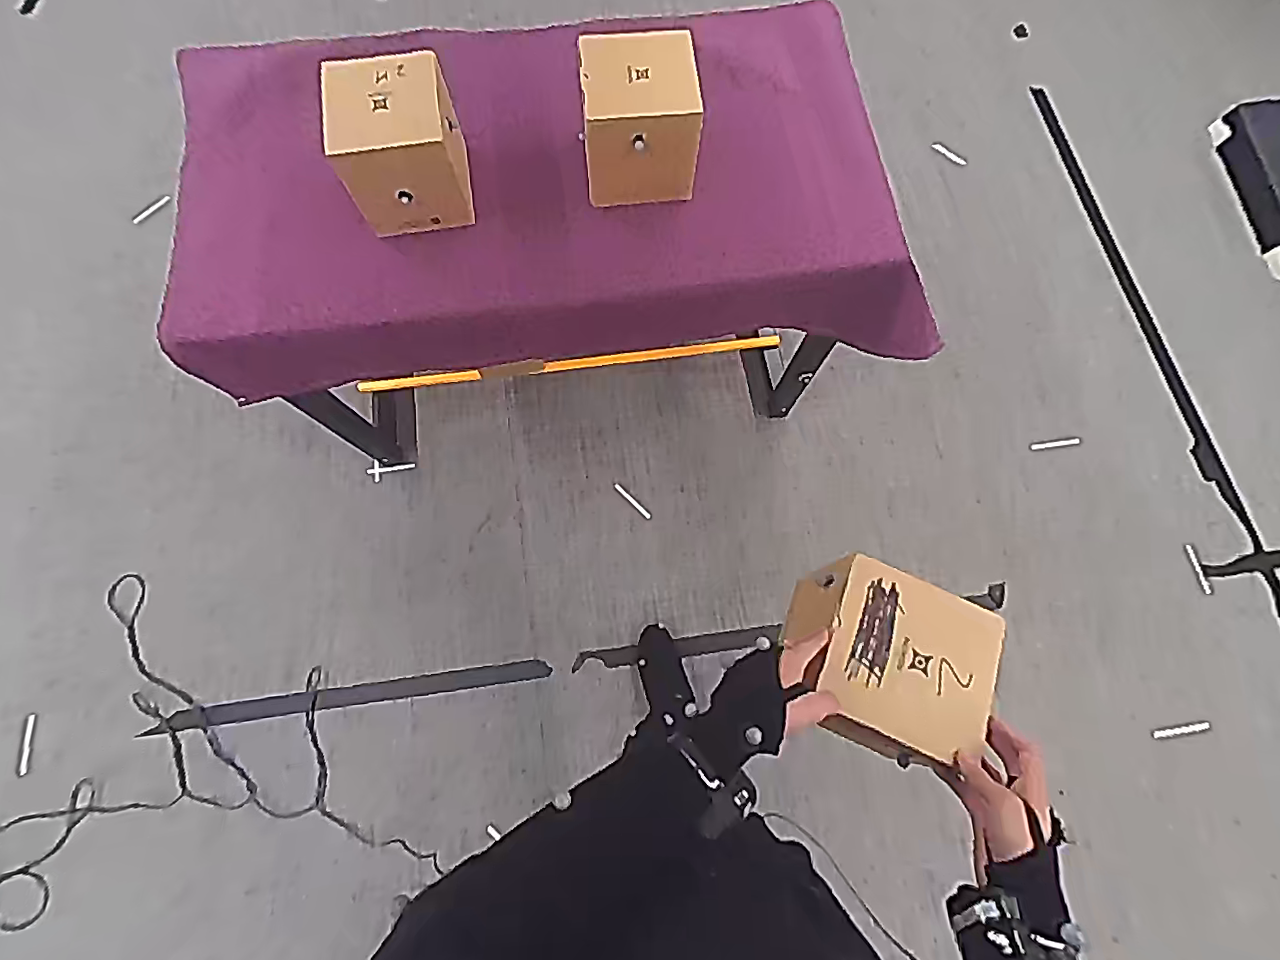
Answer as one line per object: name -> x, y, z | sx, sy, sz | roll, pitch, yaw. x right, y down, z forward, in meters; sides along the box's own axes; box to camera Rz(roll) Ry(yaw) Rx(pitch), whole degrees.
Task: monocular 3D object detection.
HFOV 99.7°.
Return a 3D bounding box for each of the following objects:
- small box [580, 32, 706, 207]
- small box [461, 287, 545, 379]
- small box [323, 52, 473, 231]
small box -> 0.001, -0.571, 0.871 | 0.179, 0.176, 0.168 | -5, 75, -1
small box -> -0.363, -0.388, 1.452 | 0.179, 0.176, 0.168 | -10, 75, -5
small box -> -0.369, -0.516, 0.849 | 0.168, 0.176, 0.179 | -9, 74, -4
